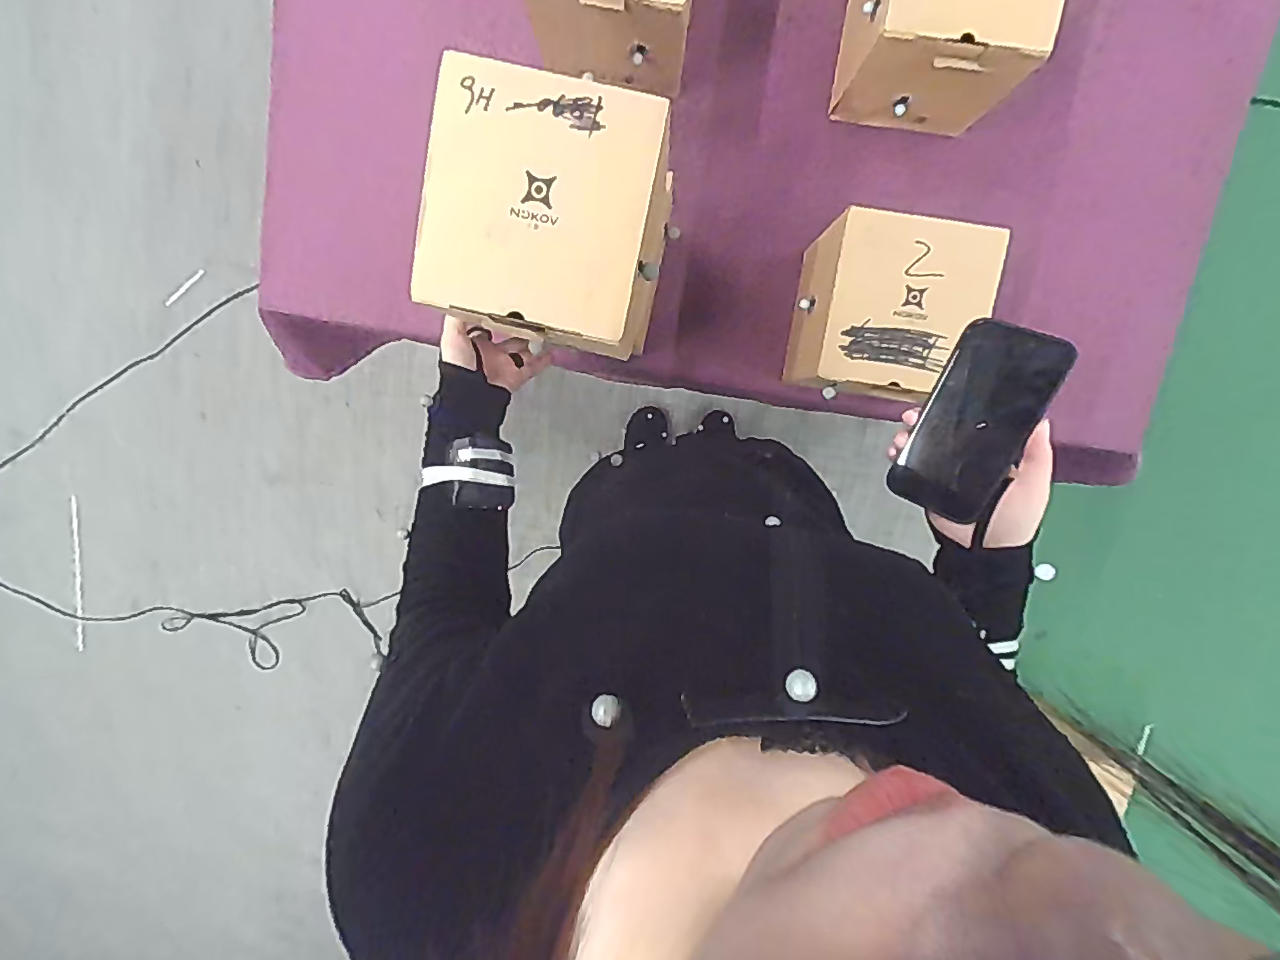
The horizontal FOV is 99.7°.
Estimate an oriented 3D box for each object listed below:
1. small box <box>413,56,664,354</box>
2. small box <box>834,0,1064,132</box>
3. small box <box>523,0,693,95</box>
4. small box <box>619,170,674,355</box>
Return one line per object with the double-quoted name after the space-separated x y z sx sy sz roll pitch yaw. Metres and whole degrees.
-0.075 -0.214 0.475 0.168 0.176 0.179 12 100 -1 "small box"
0.325 -0.515 0.581 0.168 0.176 0.179 7 100 1 "small box"
-0.022 -0.561 0.585 0.168 0.176 0.179 9 99 -1 "small box"
-0.061 -0.254 0.634 0.168 0.176 0.179 12 99 0 "small box"
